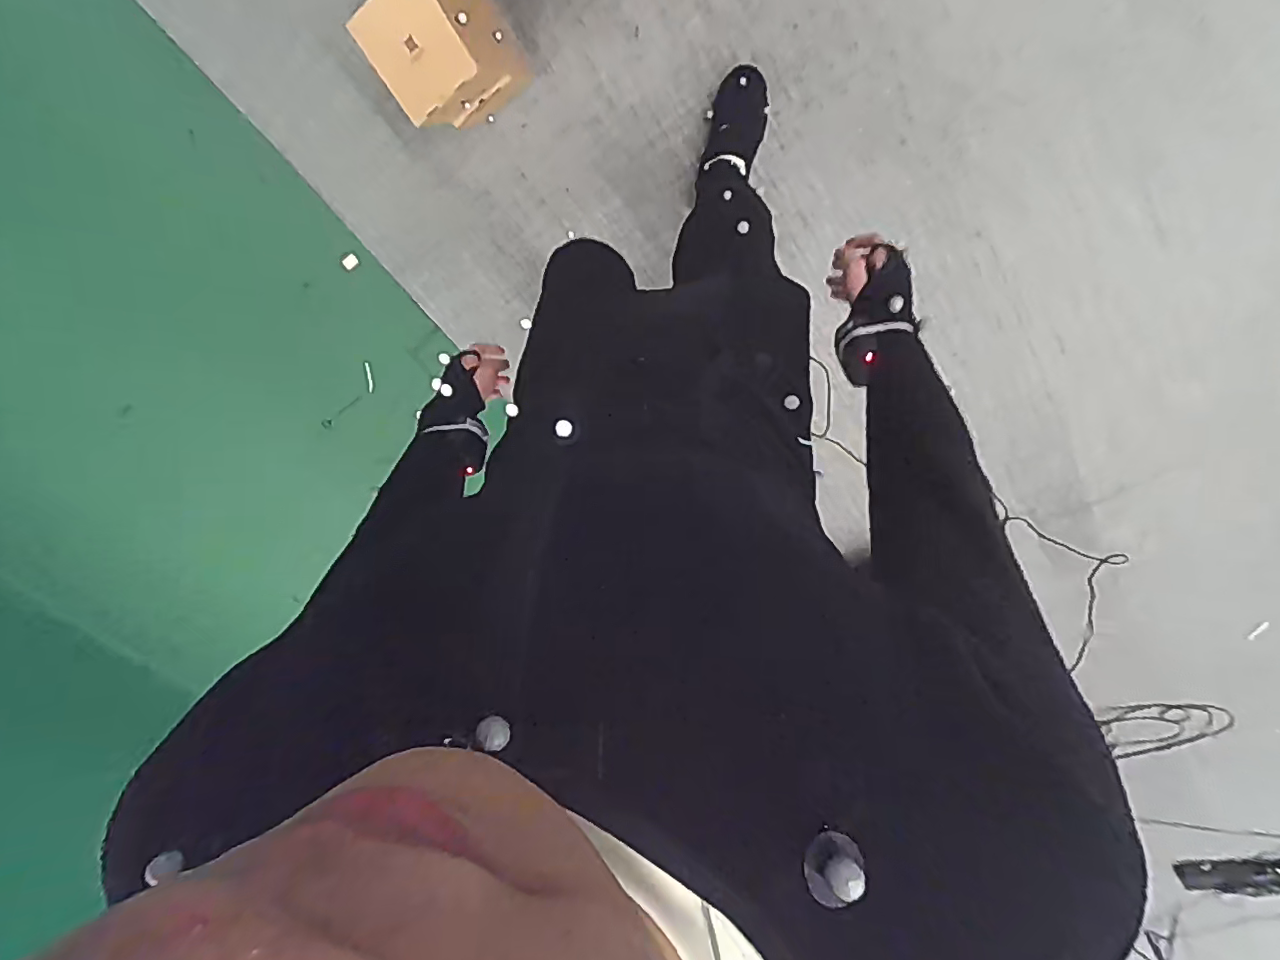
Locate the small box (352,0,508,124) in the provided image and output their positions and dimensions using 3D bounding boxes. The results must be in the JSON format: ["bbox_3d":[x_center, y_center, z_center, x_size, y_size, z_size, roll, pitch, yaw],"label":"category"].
[{"bbox_3d":[-0.377,-0.798,1.001,0.168,0.176,0.179,-22,121,24],"label":"small box"}]

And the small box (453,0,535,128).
[{"bbox_3d":[-0.350,-0.894,1.150,0.168,0.176,0.179,-23,120,24],"label":"small box"}]
